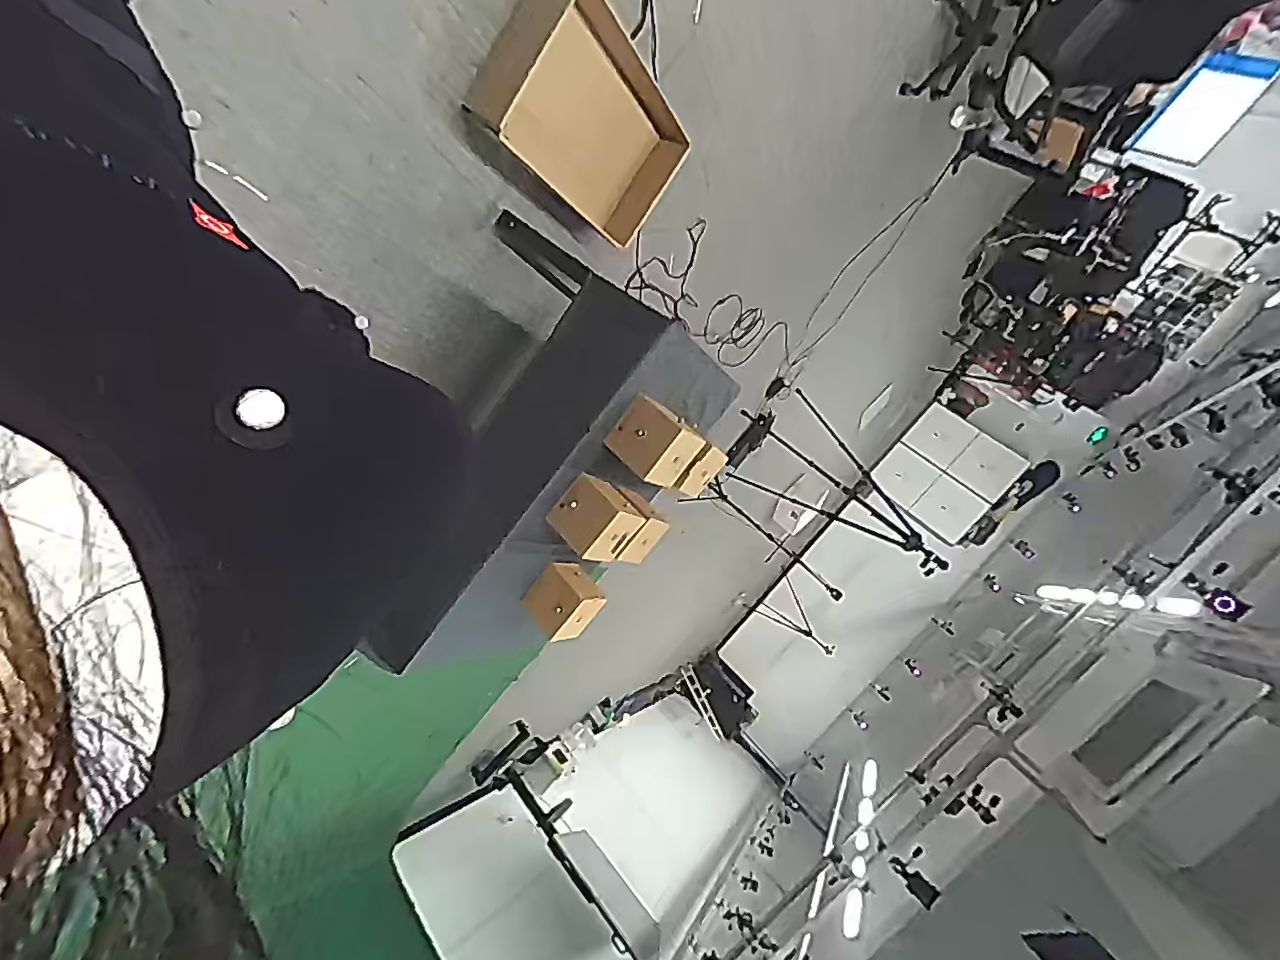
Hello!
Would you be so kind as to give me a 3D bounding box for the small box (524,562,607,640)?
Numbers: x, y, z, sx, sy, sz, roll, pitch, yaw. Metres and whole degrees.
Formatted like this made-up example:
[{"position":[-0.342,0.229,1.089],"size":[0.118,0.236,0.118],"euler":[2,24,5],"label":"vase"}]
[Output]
[{"position":[-0.245,0.386,1.732],"size":[0.179,0.176,0.168],"euler":[-52,154,8],"label":"small box"}]
